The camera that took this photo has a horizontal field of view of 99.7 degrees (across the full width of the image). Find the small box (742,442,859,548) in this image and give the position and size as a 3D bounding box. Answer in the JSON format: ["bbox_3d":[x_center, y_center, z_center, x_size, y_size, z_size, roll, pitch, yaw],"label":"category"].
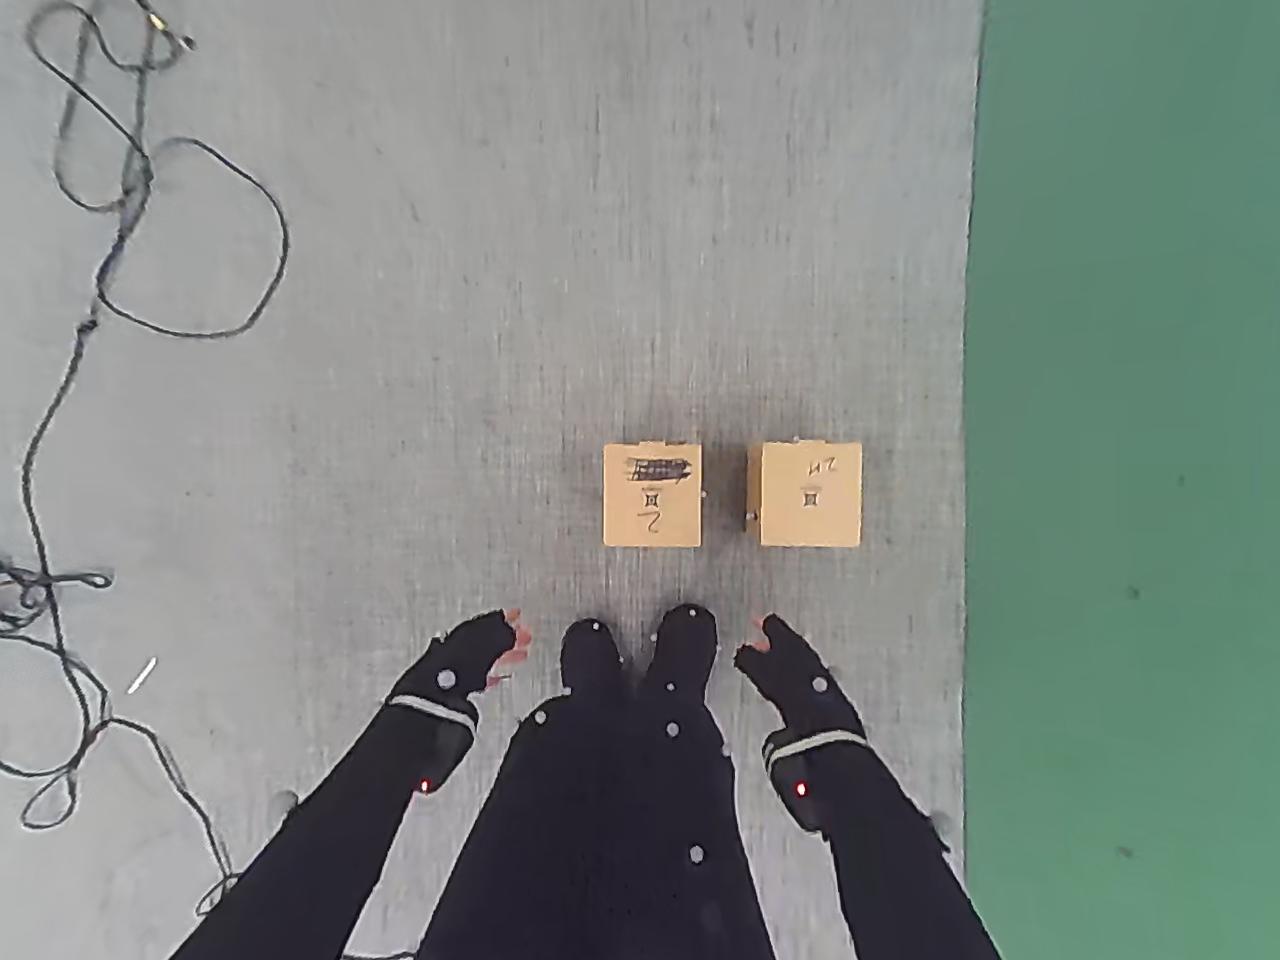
[{"bbox_3d":[0.281,0.023,0.976,0.168,0.176,0.179,1,91,2],"label":"small box"}]
